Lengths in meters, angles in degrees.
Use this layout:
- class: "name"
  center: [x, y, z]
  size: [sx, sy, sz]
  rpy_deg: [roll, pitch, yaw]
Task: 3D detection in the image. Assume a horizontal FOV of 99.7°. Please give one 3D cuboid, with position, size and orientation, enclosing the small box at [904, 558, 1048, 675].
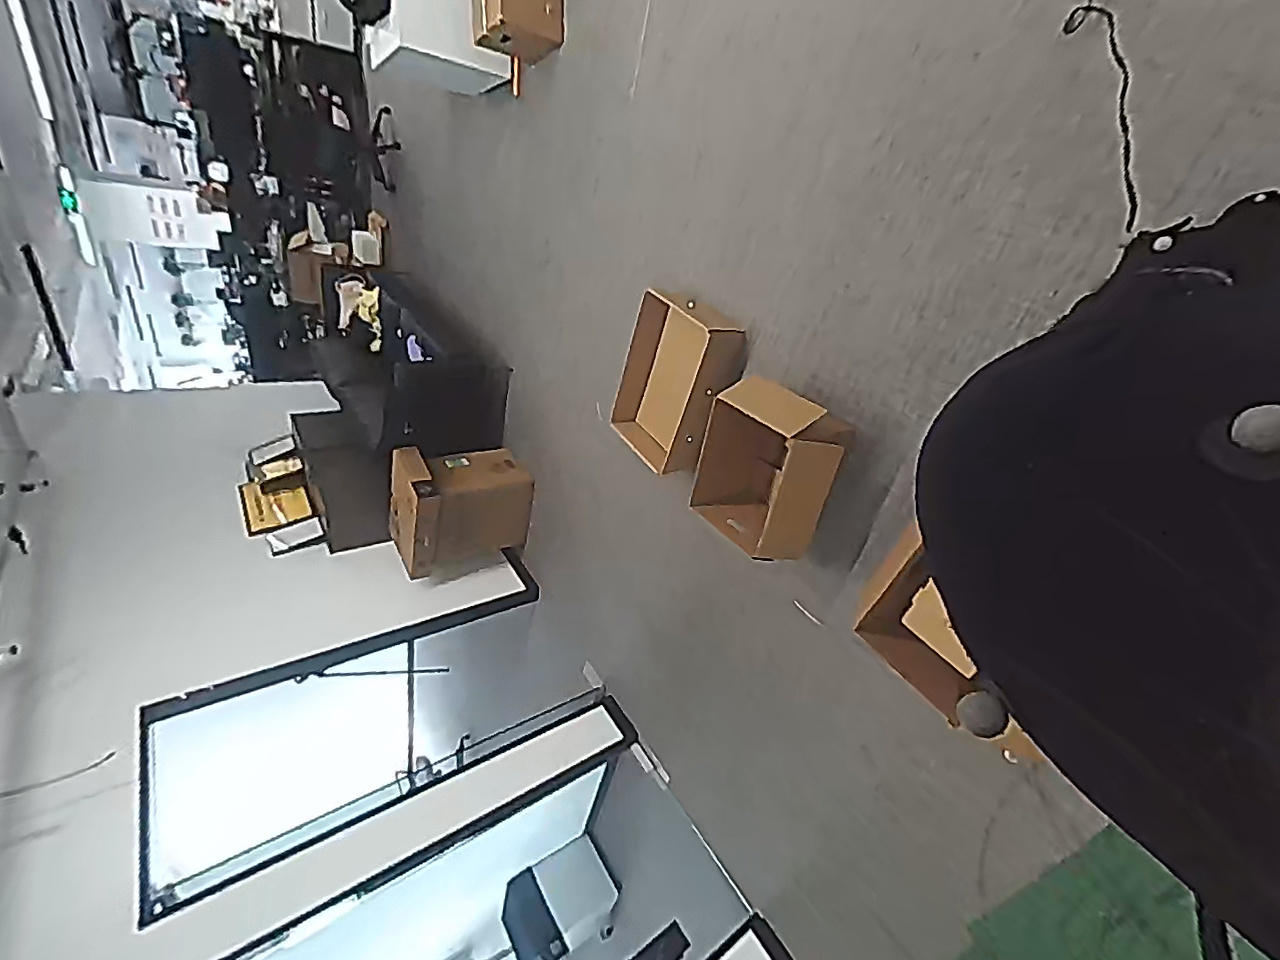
- class: "small box"
  center: [0.738, 0.289, 1.193]
  size: [0.179, 0.176, 0.168]
  rpy_deg: [49, 137, 40]
